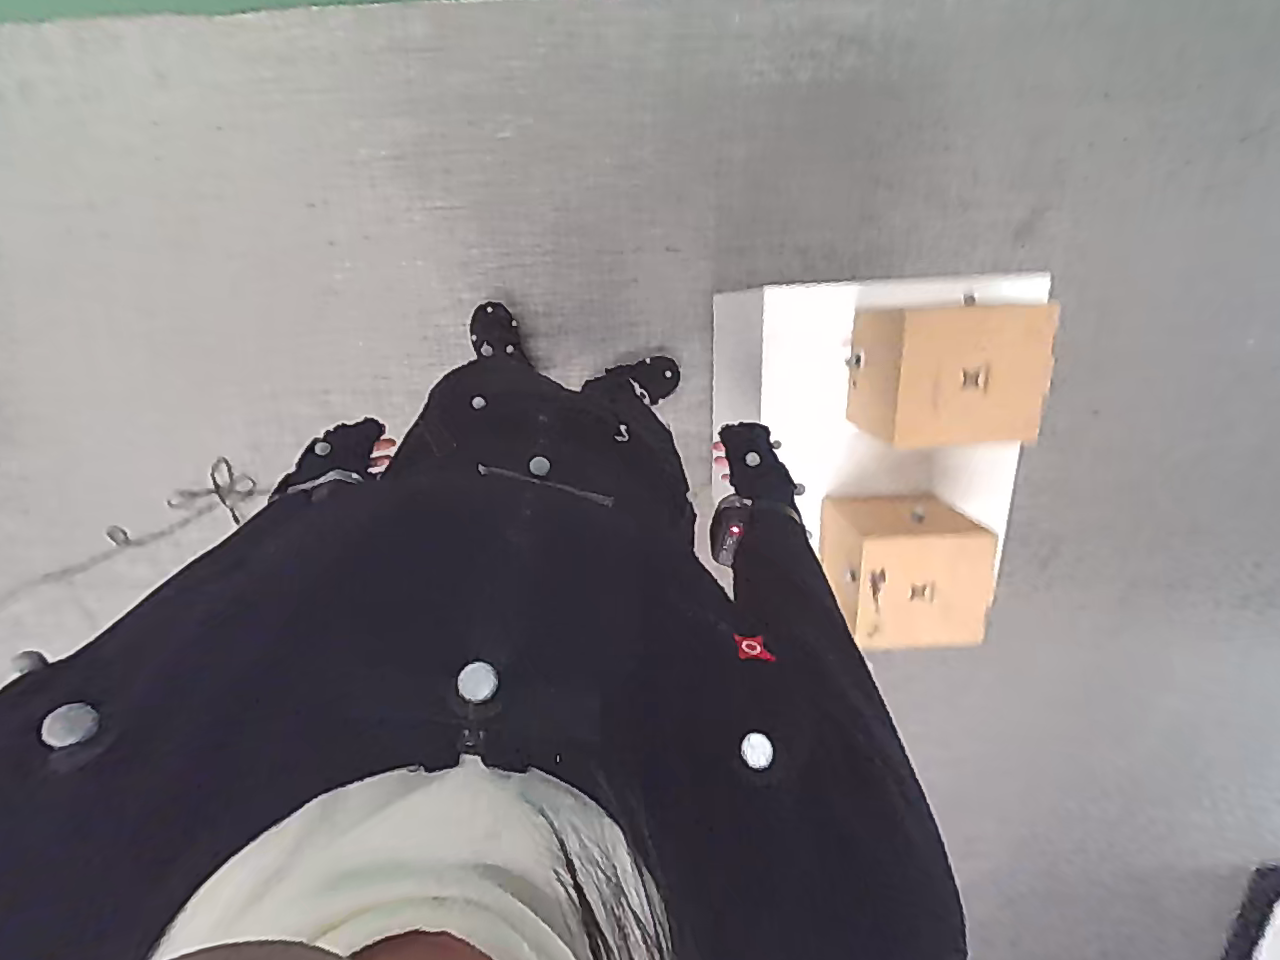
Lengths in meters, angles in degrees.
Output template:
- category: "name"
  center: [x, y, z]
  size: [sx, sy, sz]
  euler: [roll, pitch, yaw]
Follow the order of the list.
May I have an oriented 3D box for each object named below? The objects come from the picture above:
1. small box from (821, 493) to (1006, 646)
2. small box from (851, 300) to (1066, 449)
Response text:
- category: "small box"
  center: [0.382, 0.121, 0.787]
  size: [0.179, 0.176, 0.168]
  euler: [-2, 107, 1]
- category: "small box"
  center: [0.395, -0.144, 0.703]
  size: [0.179, 0.176, 0.168]
  euler: [-3, 108, 4]
